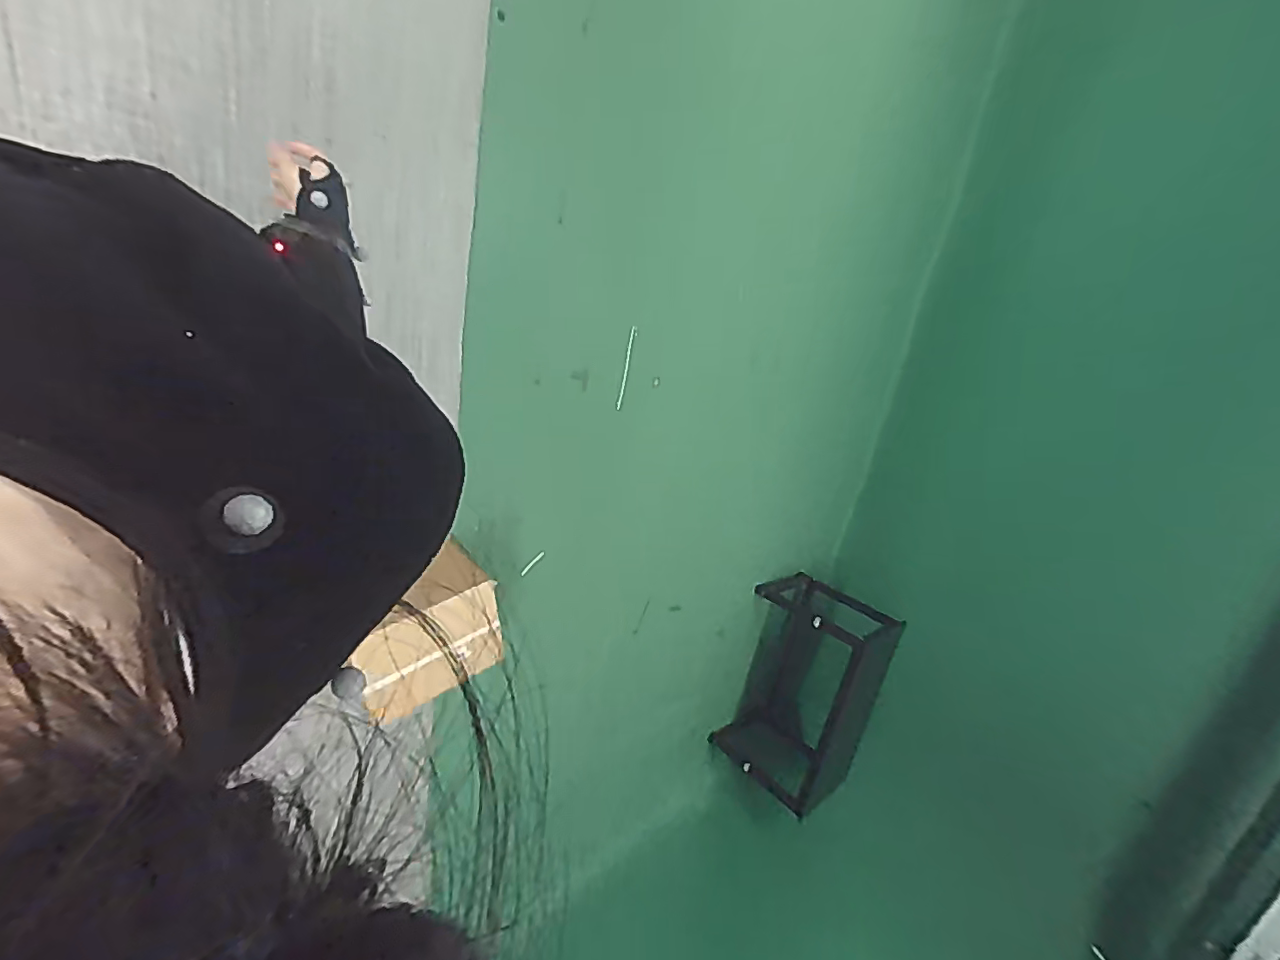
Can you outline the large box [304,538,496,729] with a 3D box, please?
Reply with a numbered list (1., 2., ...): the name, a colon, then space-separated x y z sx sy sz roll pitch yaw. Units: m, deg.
1. large box: -0.698 0.428 1.604 0.408 0.320 0.320 -23 126 -38
